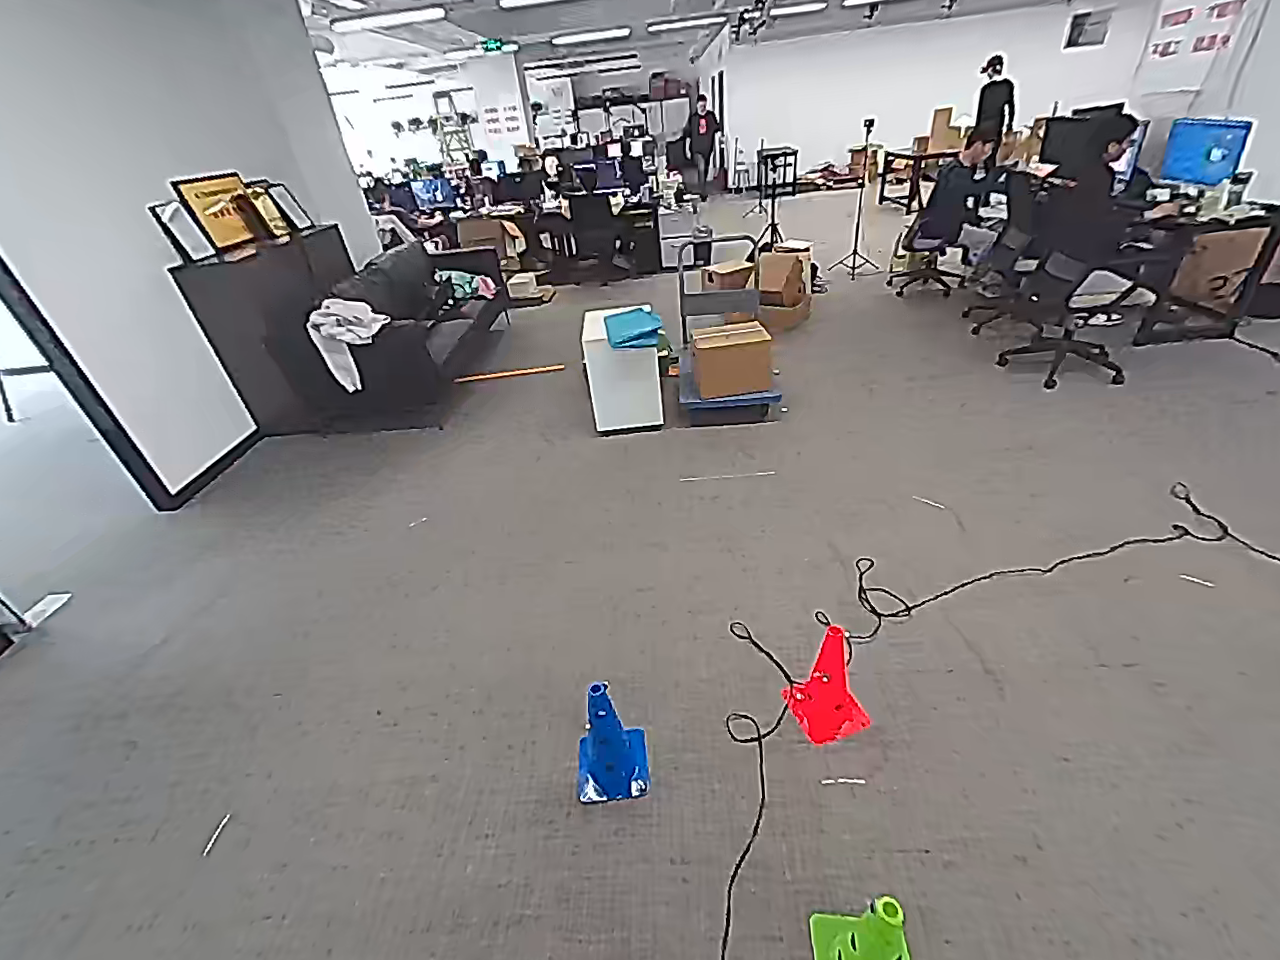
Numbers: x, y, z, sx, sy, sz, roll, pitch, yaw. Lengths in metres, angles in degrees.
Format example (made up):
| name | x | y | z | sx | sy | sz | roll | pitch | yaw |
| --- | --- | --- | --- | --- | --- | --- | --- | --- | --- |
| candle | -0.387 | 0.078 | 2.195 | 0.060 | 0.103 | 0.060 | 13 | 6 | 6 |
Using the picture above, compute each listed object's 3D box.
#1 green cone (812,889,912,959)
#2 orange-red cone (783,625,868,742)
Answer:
| name | x | y | z | sx | sy | sz | roll | pitch | yaw |
| --- | --- | --- | --- | --- | --- | --- | --- | --- | --- |
| green cone | 0.461 | 0.893 | 1.041 | 0.200 | 0.368 | 0.202 | -2 | 33 | 7 |
| orange-red cone | 0.545 | 0.548 | 1.551 | 0.198 | 0.360 | 0.199 | -15 | 36 | -10 |
